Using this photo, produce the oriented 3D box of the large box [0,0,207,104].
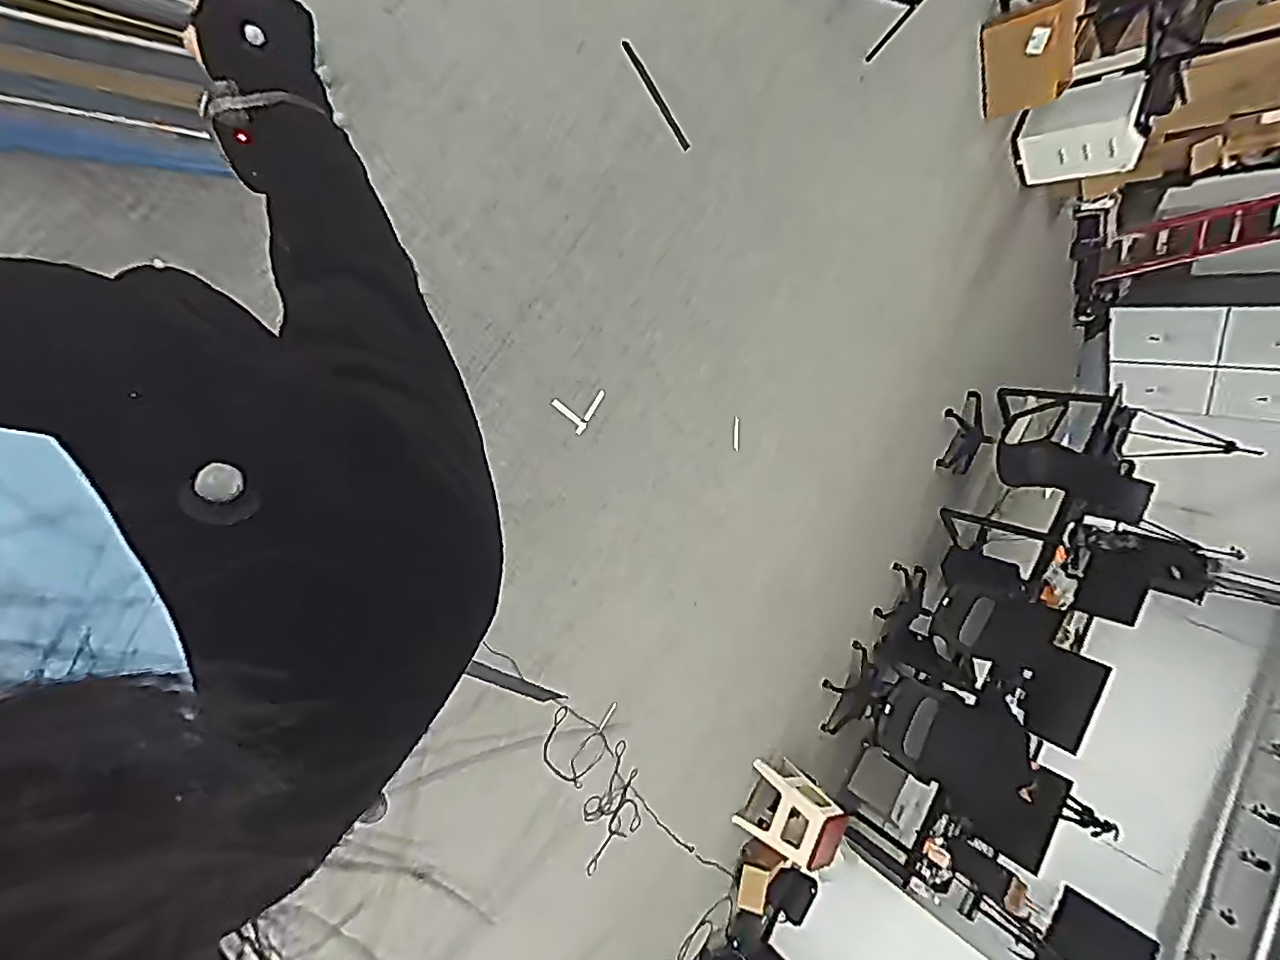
[{"bbox_3d":[-0.827,-0.727,0.664,0.408,0.320,0.320,-13,112,-40],"label":"large box"}]
